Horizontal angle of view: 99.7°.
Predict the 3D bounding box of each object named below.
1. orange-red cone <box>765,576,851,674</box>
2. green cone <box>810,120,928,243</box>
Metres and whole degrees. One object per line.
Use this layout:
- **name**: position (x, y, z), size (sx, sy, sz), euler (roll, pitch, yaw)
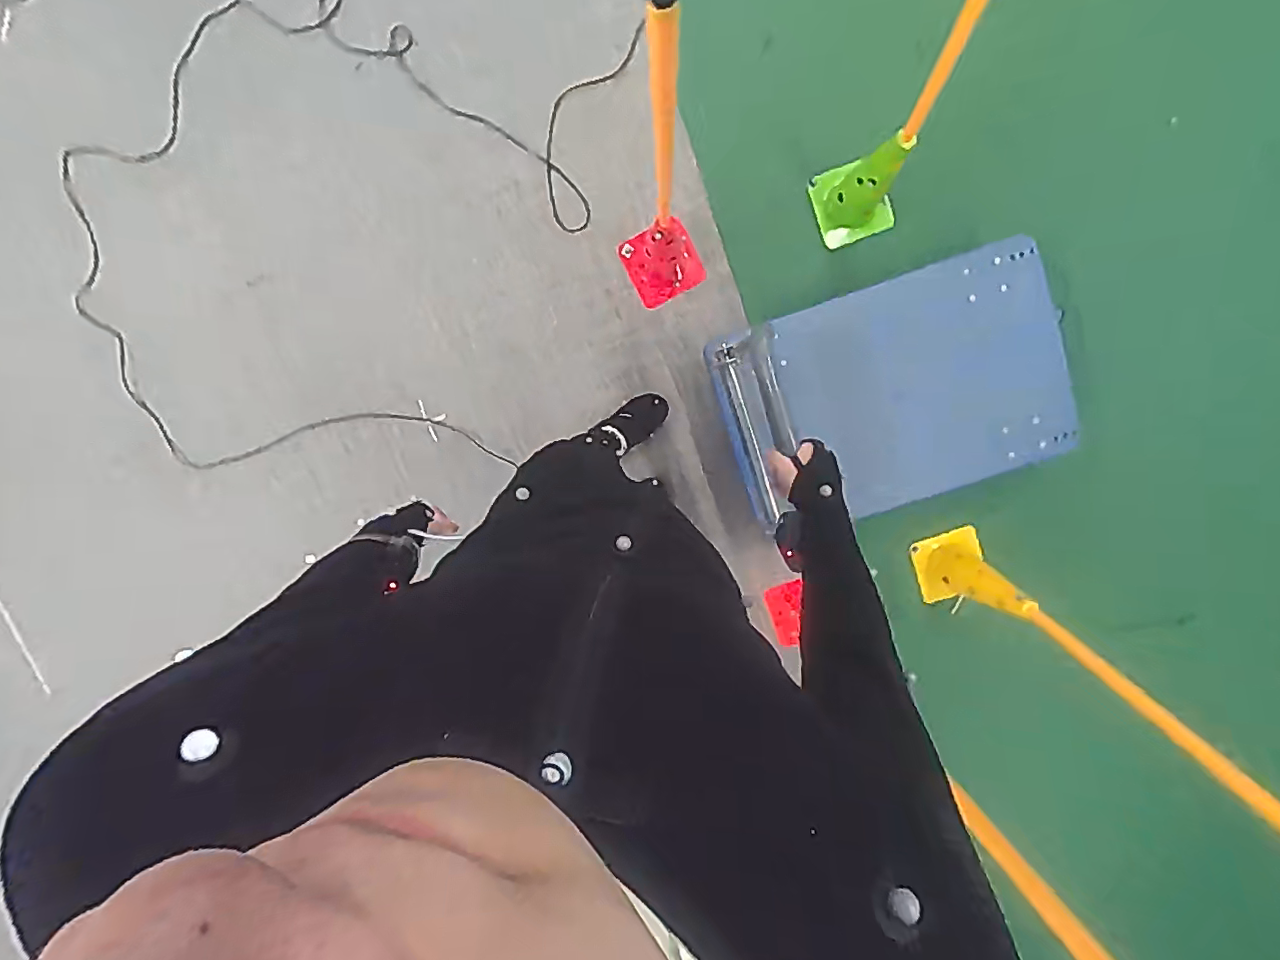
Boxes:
- **orange-red cone**: position (0.494, 0.425, 1.477), size (0.199, 0.360, 0.198), euler (-20, 98, 2)
- **green cone**: position (0.581, -0.750, 1.309), size (0.202, 0.368, 0.200), euler (-20, 96, 3)
